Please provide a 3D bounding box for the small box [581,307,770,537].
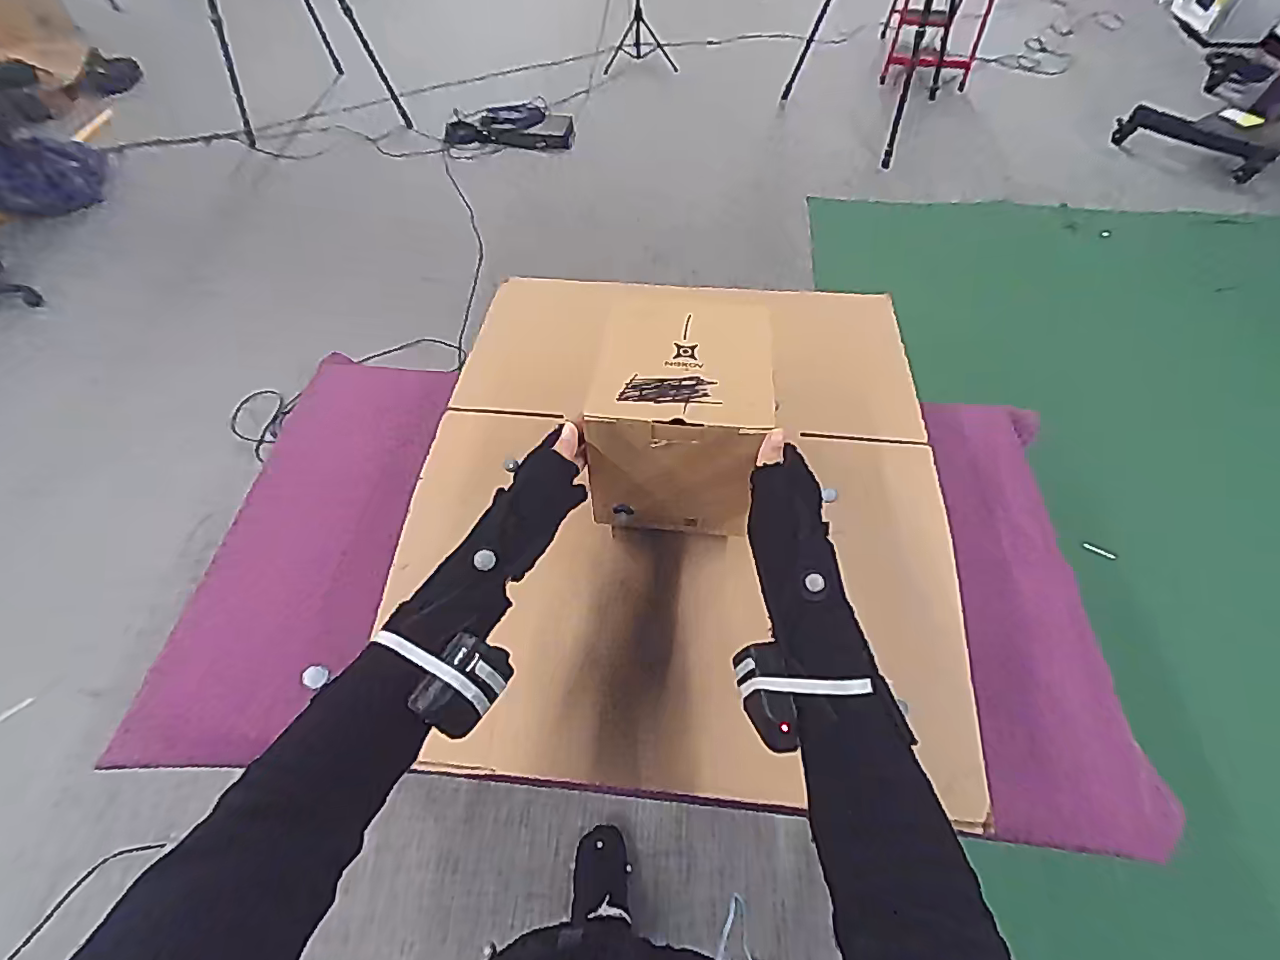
[{"bbox_3d":[0.041,-0.057,0.571,0.168,0.176,0.179,5,52,4],"label":"small box"}]
